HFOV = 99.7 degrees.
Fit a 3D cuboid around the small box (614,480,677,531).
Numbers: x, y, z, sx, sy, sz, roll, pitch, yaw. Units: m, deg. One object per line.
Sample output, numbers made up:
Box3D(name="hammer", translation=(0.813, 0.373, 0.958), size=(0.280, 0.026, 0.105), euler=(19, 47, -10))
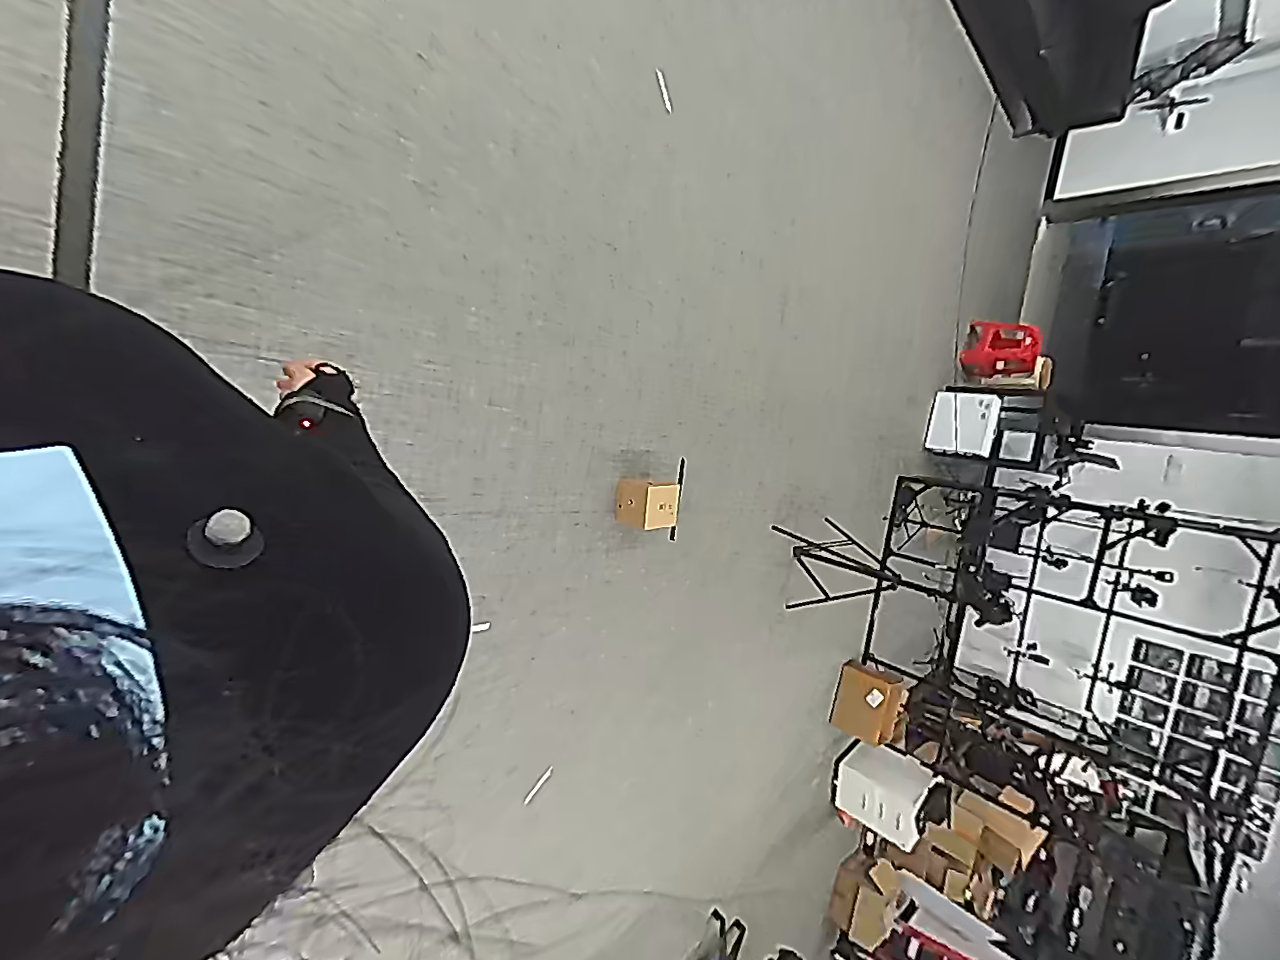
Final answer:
Box3D(name="small box", translation=(0.017, 0.093, 2.093), size=(0.179, 0.176, 0.168), euler=(-2, 102, -45))
